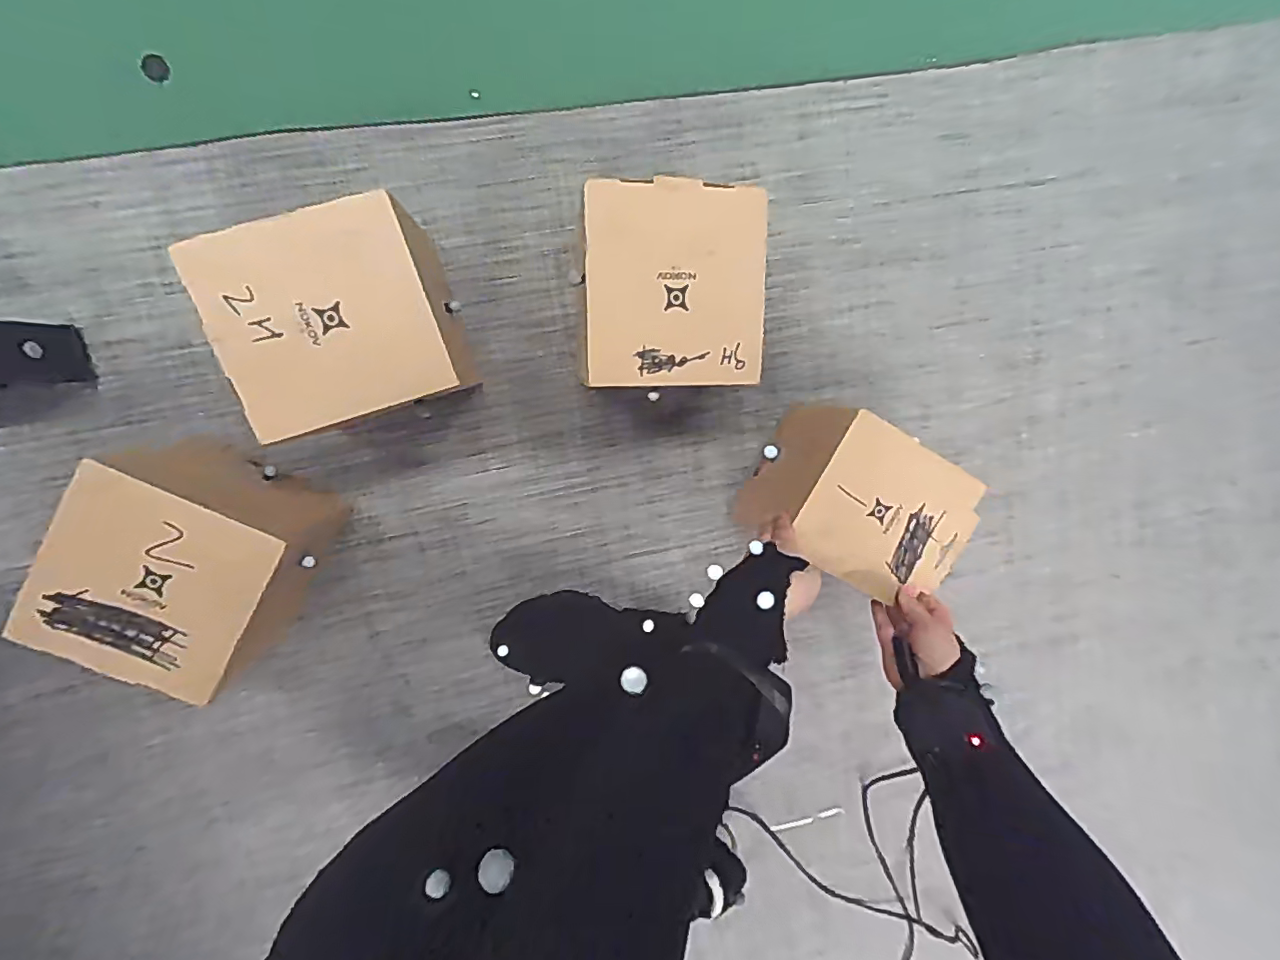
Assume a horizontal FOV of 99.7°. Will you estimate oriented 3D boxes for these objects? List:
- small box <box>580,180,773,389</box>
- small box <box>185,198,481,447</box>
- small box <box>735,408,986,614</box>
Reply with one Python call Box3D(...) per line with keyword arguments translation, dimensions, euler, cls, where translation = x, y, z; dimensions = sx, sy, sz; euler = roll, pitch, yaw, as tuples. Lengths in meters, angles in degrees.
Box3D(translation=(0.025, -0.185, 0.562), dimensions=(0.168, 0.176, 0.179), euler=(-2, 101, -9), cls="small box")
Box3D(translation=(-0.266, -0.144, 0.525), dimensions=(0.179, 0.176, 0.168), euler=(-18, 103, -5), cls="small box")
Box3D(translation=(0.244, 0.024, 0.639), dimensions=(0.179, 0.176, 0.168), euler=(28, 96, -12), cls="small box")
